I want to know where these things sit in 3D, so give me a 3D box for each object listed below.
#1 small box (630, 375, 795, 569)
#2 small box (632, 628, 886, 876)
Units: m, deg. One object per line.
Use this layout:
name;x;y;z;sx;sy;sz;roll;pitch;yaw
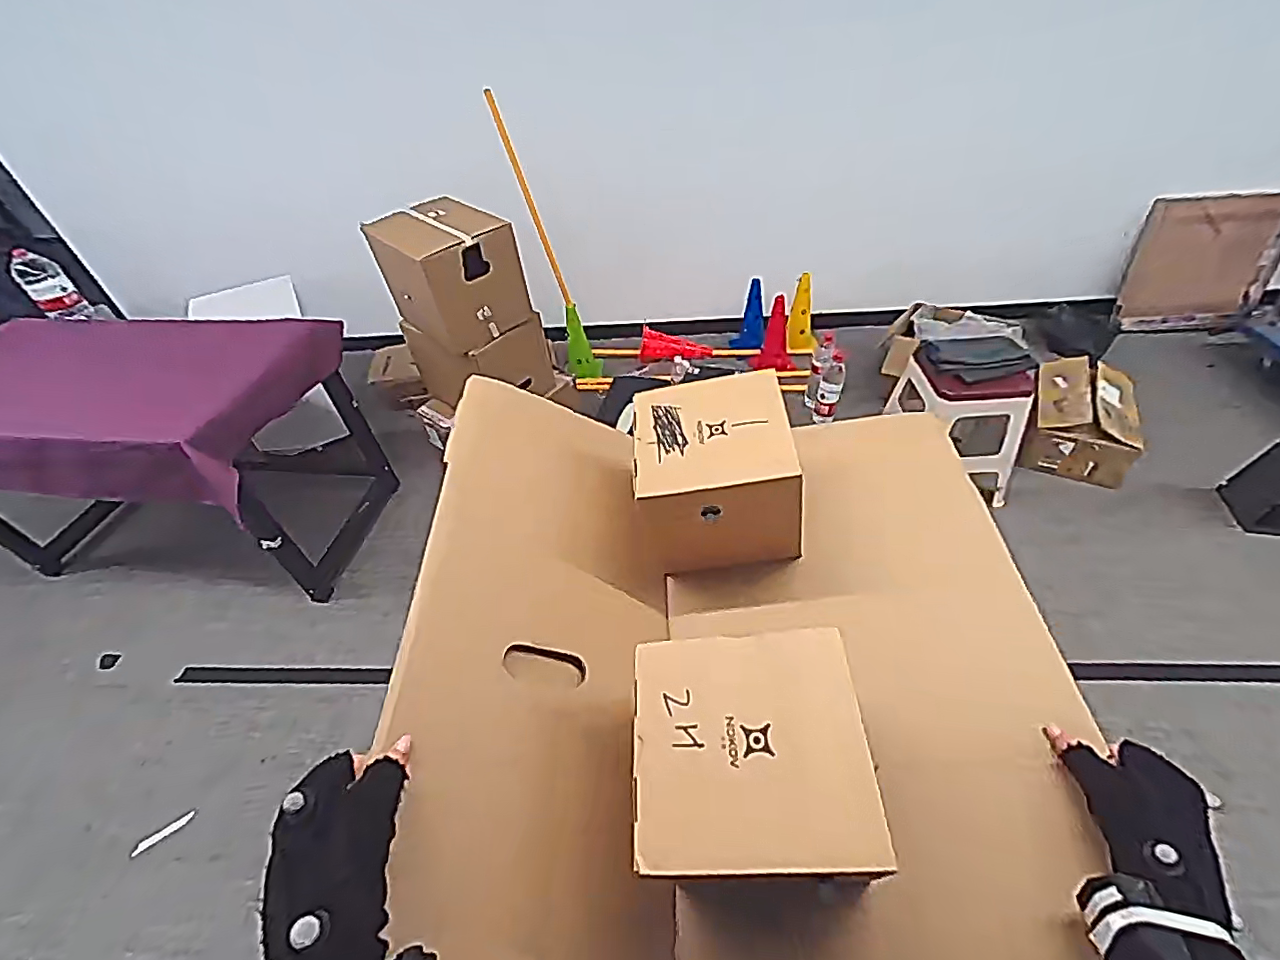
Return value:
small box;0.092;-0.003;0.679;0.179;0.176;0.168;-9;51;9
small box;0.097;0.246;0.482;0.179;0.176;0.168;-8;51;11
